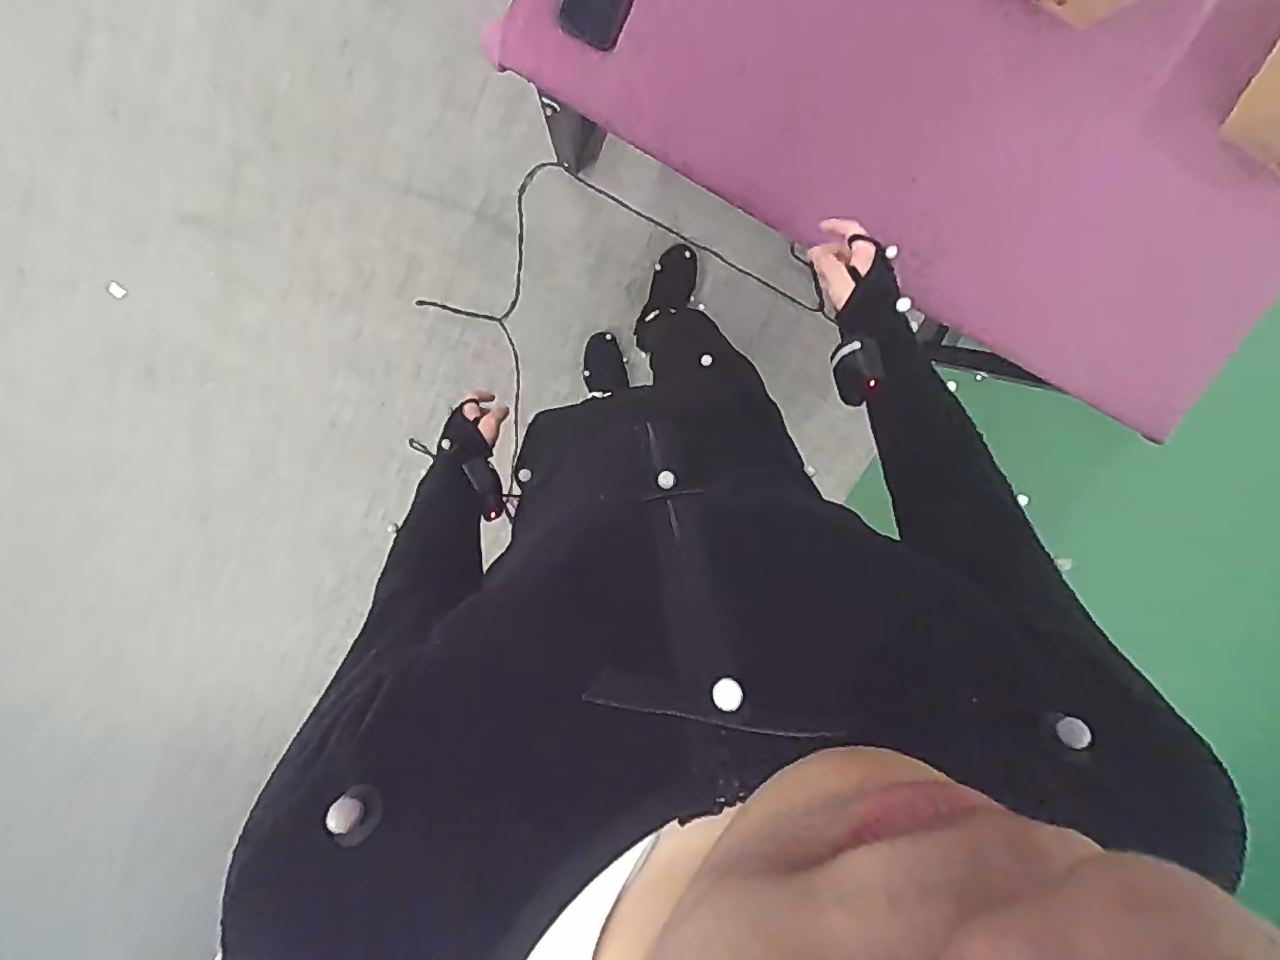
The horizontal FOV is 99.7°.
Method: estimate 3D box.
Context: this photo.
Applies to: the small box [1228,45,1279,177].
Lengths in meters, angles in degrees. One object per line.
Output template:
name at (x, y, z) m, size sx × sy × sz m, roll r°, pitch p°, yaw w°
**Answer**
small box at (0.940, -0.517, 0.688) m, size 0.168 × 0.176 × 0.179 m, roll 22°, pitch 106°, yaw -11°
